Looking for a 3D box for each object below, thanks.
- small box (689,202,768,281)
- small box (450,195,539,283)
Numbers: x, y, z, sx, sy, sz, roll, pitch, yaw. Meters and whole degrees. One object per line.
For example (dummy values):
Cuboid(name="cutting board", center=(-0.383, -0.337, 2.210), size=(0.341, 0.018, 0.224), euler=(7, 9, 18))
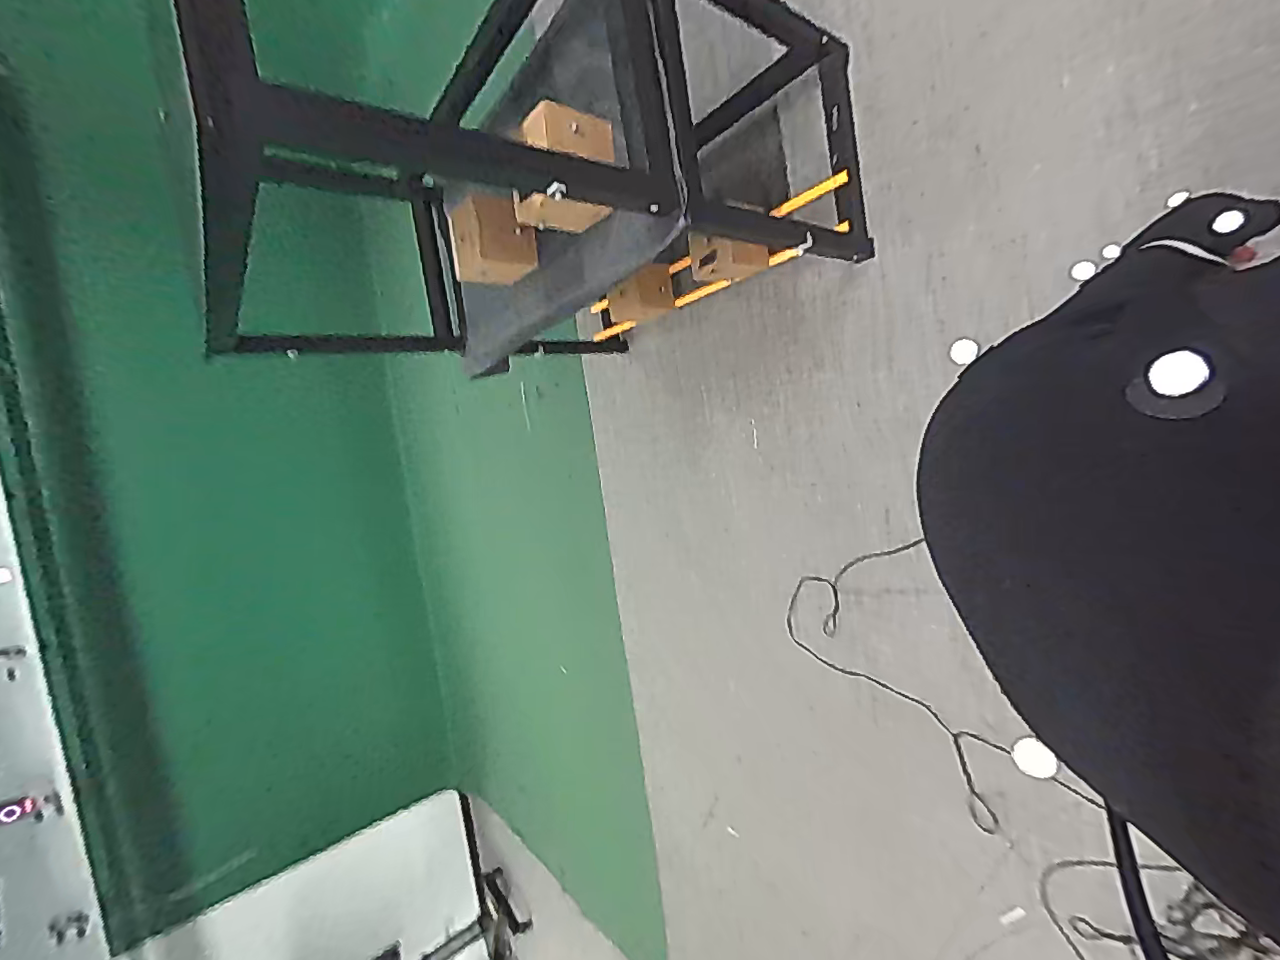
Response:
Cuboid(name="small box", center=(0.271, -0.709, 1.630), size=(0.168, 0.176, 0.179), euler=(0, 100, 51))
Cuboid(name="small box", center=(-0.394, -0.642, 1.467), size=(0.179, 0.176, 0.168), euler=(0, 99, 51))
